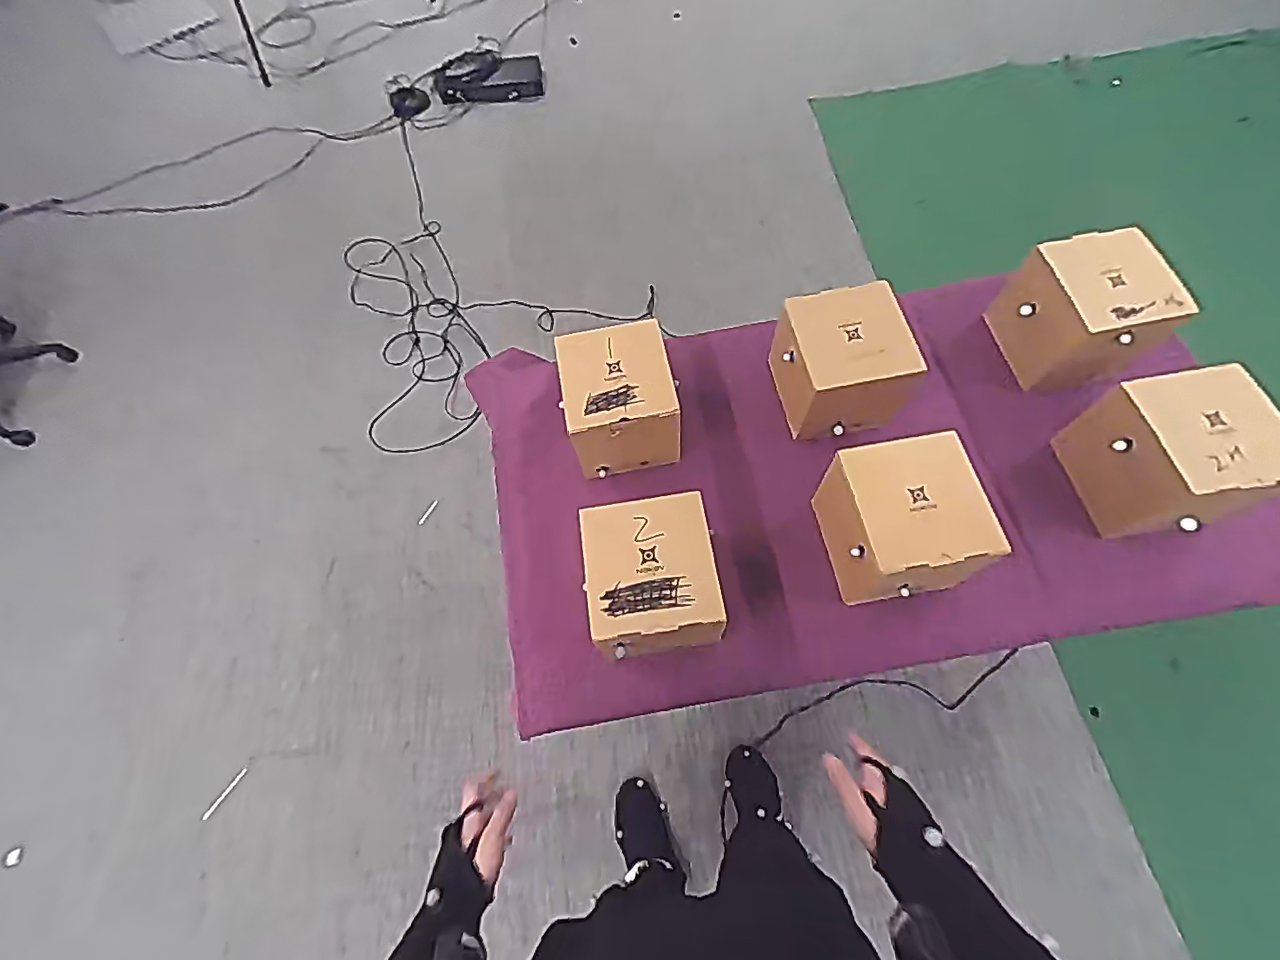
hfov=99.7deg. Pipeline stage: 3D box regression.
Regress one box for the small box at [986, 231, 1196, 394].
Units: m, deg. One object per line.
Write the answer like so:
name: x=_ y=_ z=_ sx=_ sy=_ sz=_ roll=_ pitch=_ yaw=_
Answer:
small box: x=0.714 y=-0.268 z=0.886 sx=0.168 sy=0.176 sz=0.179 roll=-11 pitch=66 yaw=0

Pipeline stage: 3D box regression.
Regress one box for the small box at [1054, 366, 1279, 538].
small box: x=0.752 y=-0.034 z=0.775 sx=0.168 sy=0.176 sz=0.179 roll=-9 pitch=64 yaw=1

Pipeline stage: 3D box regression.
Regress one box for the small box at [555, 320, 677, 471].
small box: x=-0.033 y=-0.126 z=0.879 sx=0.168 sy=0.176 sz=0.179 roll=-10 pitch=65 yaw=-1

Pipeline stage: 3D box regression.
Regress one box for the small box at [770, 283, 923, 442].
small box: x=0.320 y=-0.185 z=0.882 sx=0.168 sy=0.176 sz=0.179 roll=-10 pitch=66 yaw=1
